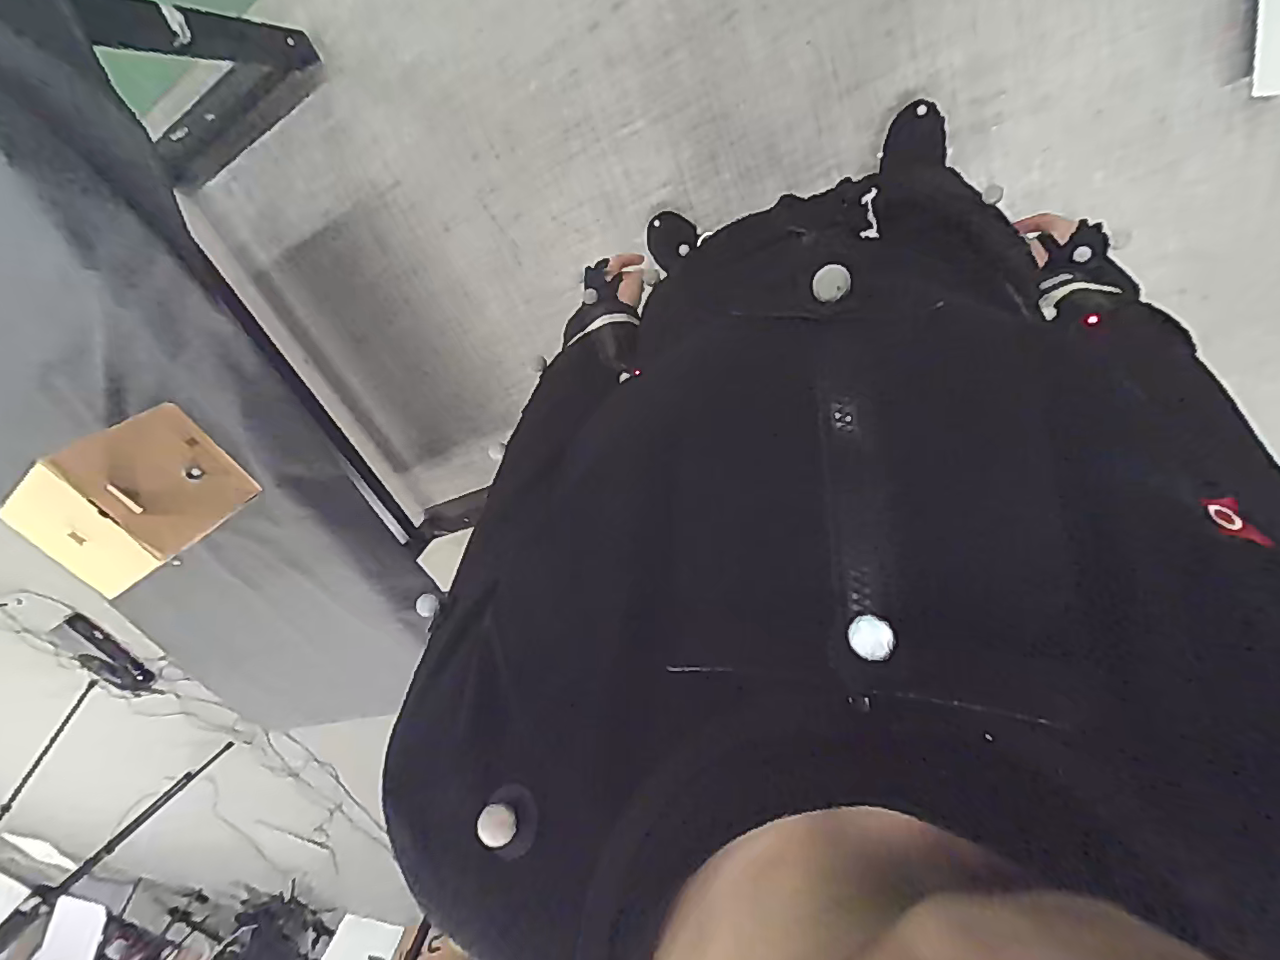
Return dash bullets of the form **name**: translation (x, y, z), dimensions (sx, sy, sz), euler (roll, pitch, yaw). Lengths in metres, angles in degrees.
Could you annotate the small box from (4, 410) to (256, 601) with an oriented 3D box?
- **small box**: translation (-0.691, 0.033, 0.752), dimensions (0.179, 0.176, 0.168), euler (-26, 113, 27)
